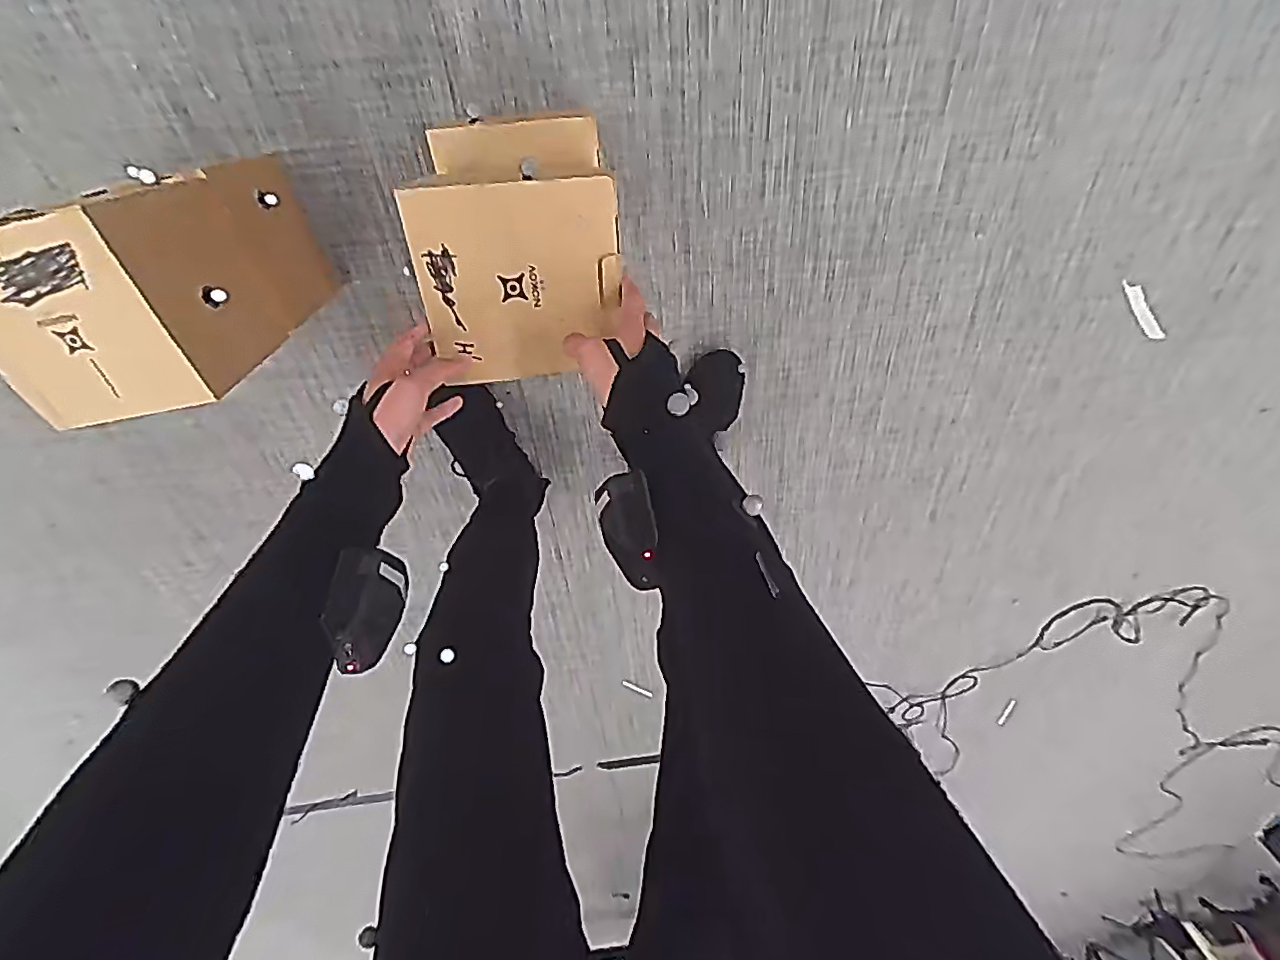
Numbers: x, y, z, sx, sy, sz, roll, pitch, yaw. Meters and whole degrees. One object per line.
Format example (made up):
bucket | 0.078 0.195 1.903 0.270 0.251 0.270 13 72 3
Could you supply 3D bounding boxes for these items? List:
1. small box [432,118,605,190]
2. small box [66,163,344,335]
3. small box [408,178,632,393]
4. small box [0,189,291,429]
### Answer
small box | -0.131 -0.341 0.666 0.179 0.176 0.168 -6 127 -3
small box | -0.507 -0.278 0.668 0.168 0.176 0.179 -11 127 2
small box | -0.110 -0.202 0.541 0.179 0.176 0.168 -7 122 -7
small box | -0.499 -0.177 0.539 0.168 0.176 0.179 -9 127 1
